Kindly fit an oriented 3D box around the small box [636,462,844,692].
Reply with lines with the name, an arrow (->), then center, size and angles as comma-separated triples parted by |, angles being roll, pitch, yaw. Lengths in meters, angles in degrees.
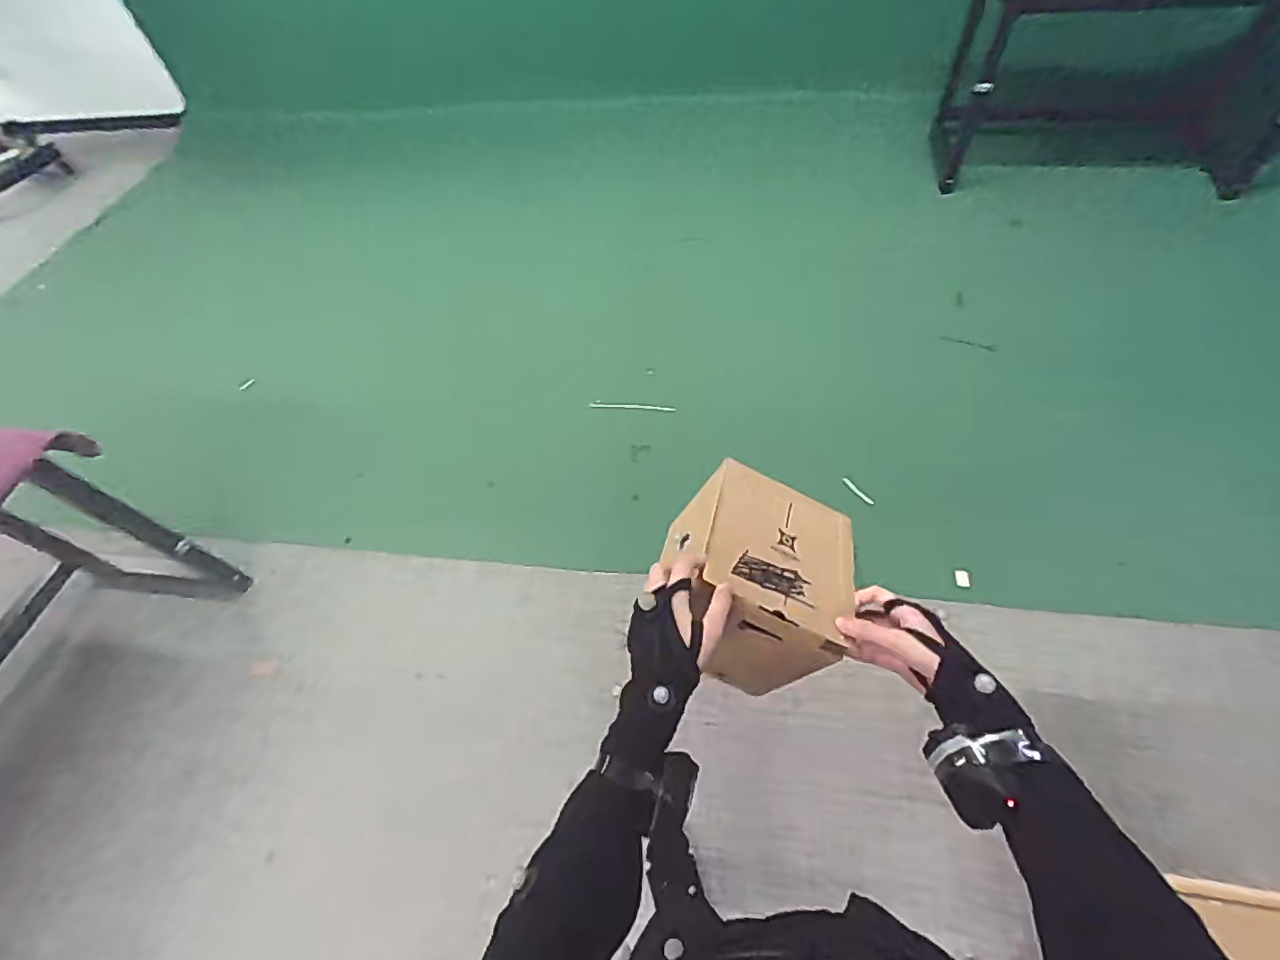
small box -> 0.108, 0.118, 0.616 | 0.168, 0.176, 0.179 | 25, 51, -6
